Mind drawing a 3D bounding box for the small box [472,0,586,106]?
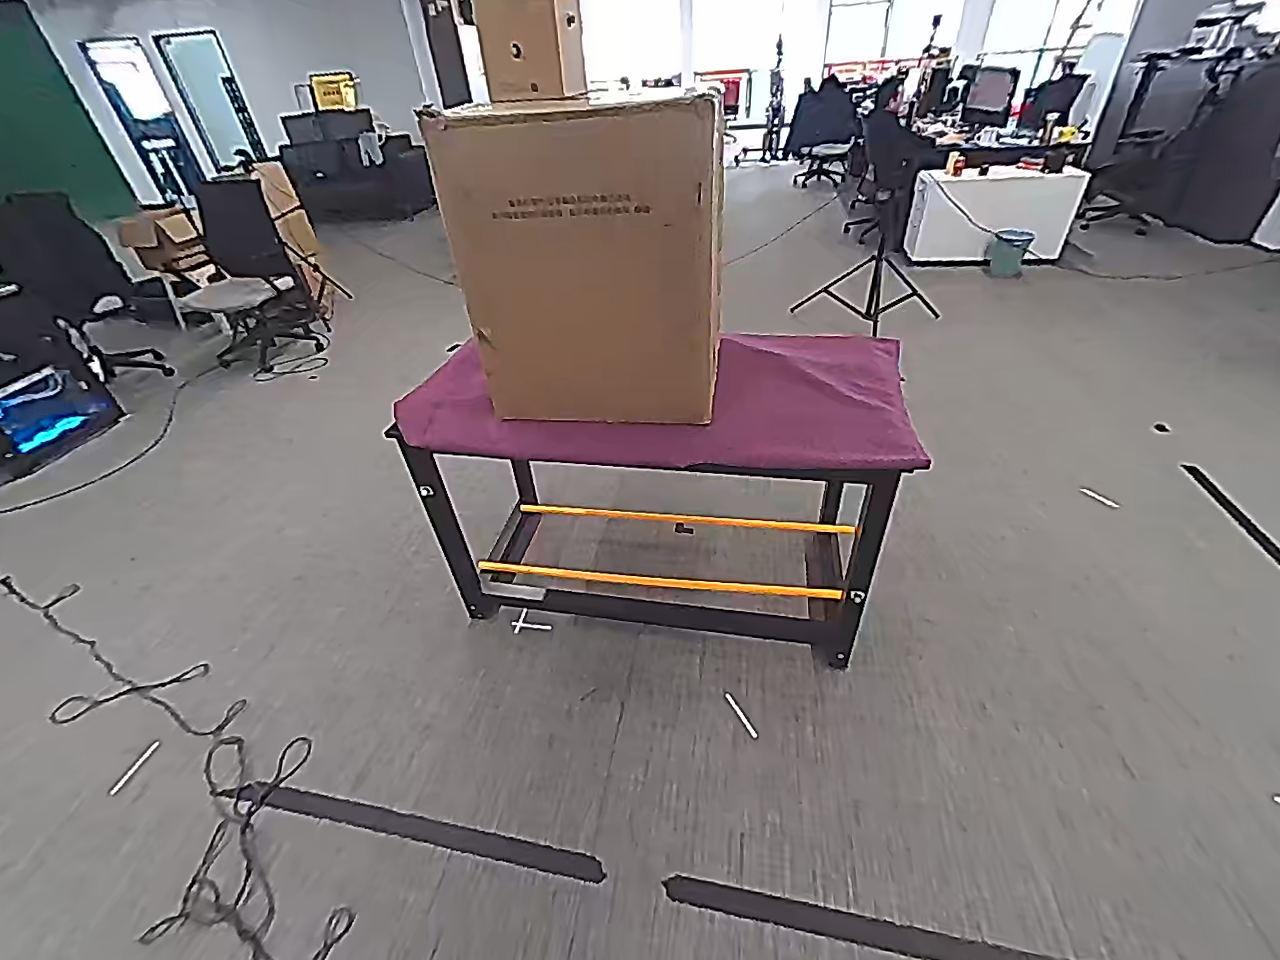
[{"bbox_3d":[-0.217,-0.881,1.118,0.168,0.176,0.179,6,38,11],"label":"small box"}]
